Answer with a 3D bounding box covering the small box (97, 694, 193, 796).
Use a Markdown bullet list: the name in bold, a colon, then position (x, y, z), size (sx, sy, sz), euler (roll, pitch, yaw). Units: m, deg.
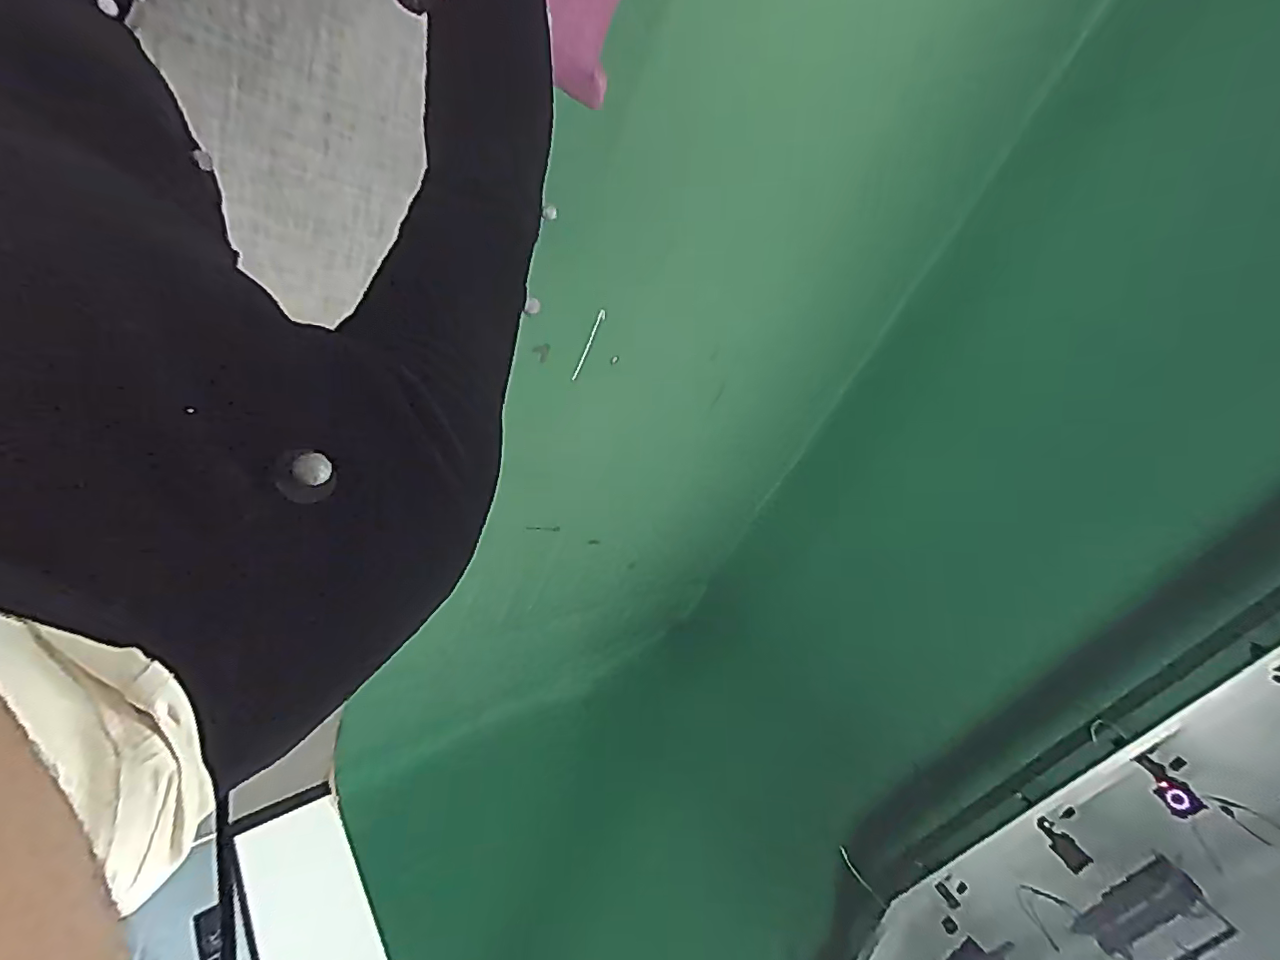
- **small box**: position (-1.404, 0.742, 1.533), size (0.179, 0.176, 0.168), euler (-2, 130, -50)
